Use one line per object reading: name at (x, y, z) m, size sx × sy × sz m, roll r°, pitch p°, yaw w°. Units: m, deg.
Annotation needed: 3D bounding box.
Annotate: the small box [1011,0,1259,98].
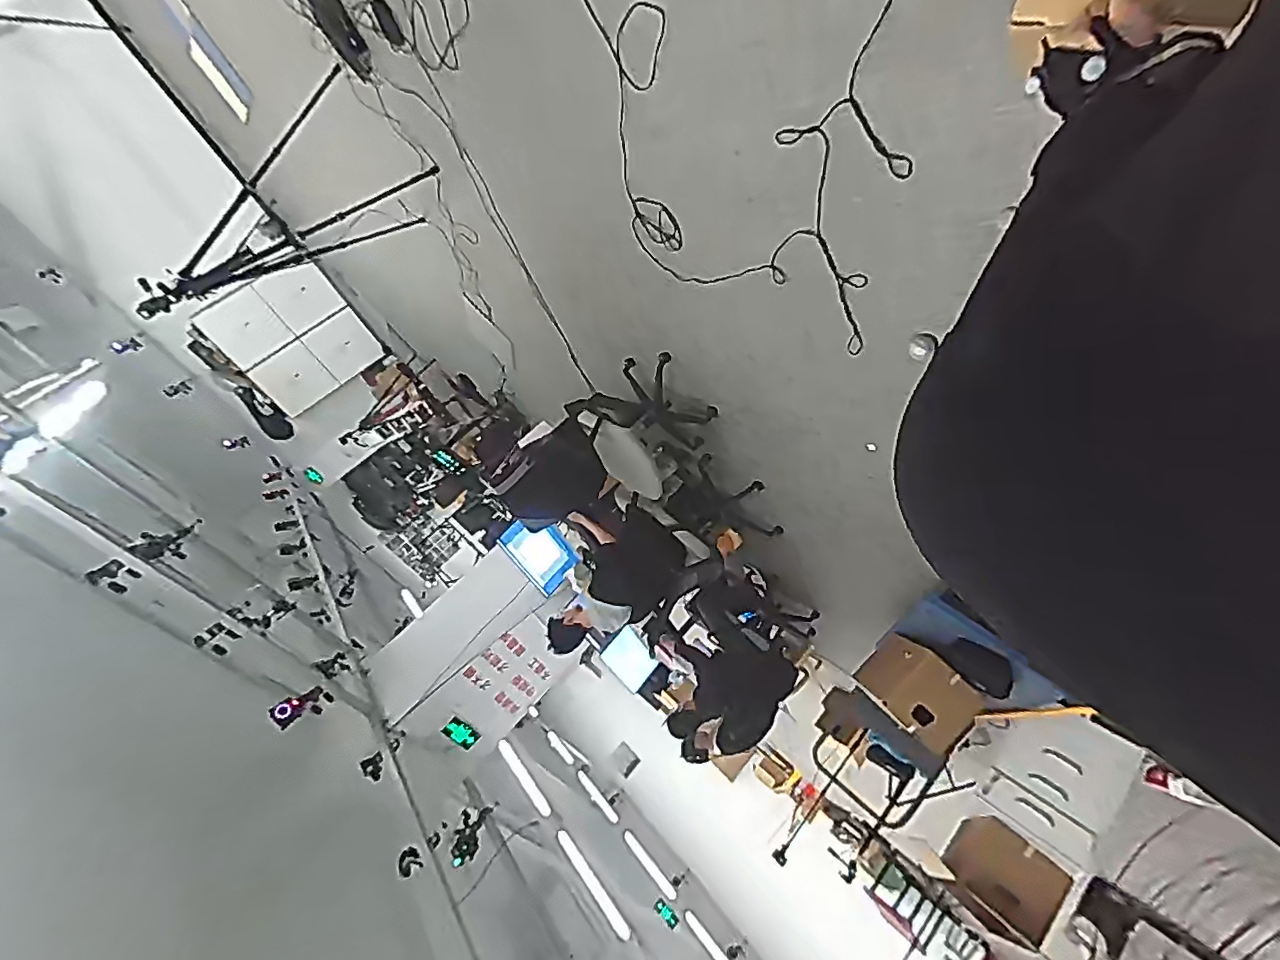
small box at (0.471, -0.479, 0.497) m, size 0.168 × 0.179 × 0.176 m, roll 26°, pitch 121°, yaw 25°
